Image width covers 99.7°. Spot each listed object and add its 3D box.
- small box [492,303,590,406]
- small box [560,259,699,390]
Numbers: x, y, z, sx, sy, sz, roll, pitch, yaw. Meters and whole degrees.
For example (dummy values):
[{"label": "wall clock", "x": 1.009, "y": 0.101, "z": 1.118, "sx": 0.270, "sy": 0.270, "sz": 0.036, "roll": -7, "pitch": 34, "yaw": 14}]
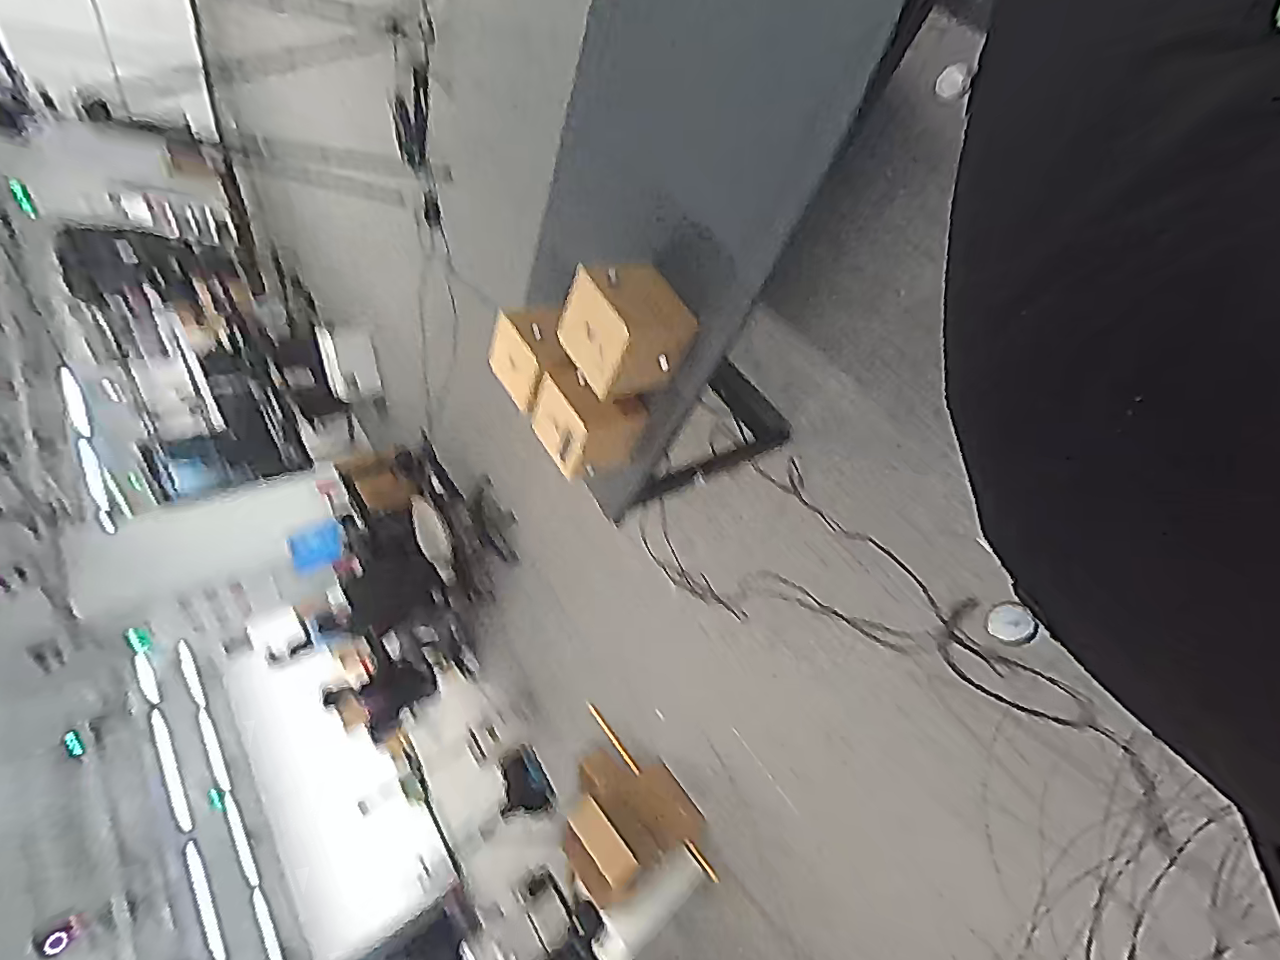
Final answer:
[{"label": "small box", "x": -0.228, "y": -0.306, "z": 1.299, "sx": 0.179, "sy": 0.176, "sz": 0.168, "roll": 53, "pitch": 140, "yaw": 20}, {"label": "small box", "x": -0.022, "y": -0.300, "z": 1.038, "sx": 0.179, "sy": 0.176, "sz": 0.168, "roll": 55, "pitch": 141, "yaw": 19}]
